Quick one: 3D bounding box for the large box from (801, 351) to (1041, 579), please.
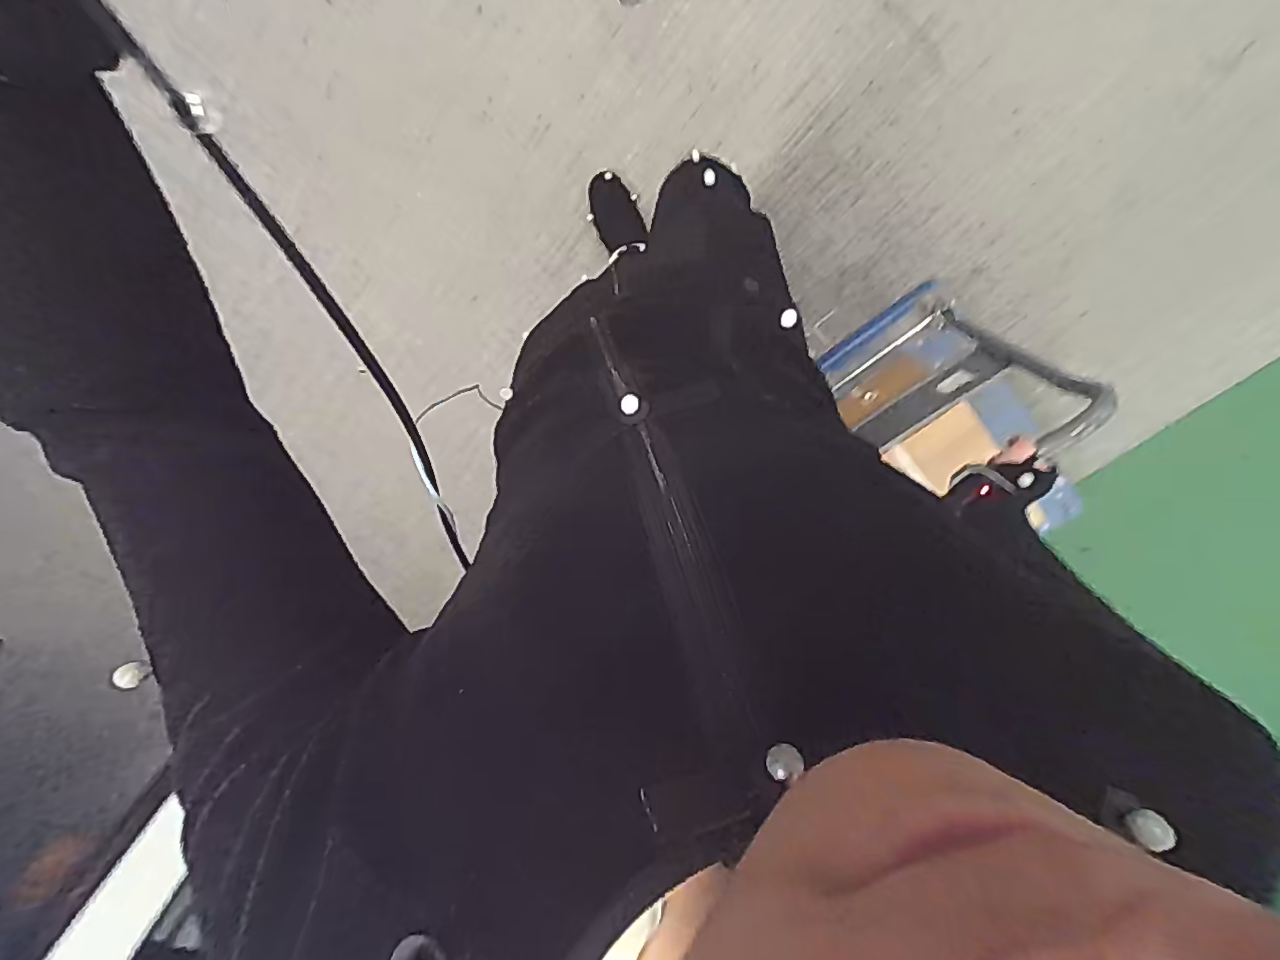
[{"bbox_3d":[0.670,-0.041,1.343,0.320,0.320,0.408,-38,112,23],"label":"large box"}]
